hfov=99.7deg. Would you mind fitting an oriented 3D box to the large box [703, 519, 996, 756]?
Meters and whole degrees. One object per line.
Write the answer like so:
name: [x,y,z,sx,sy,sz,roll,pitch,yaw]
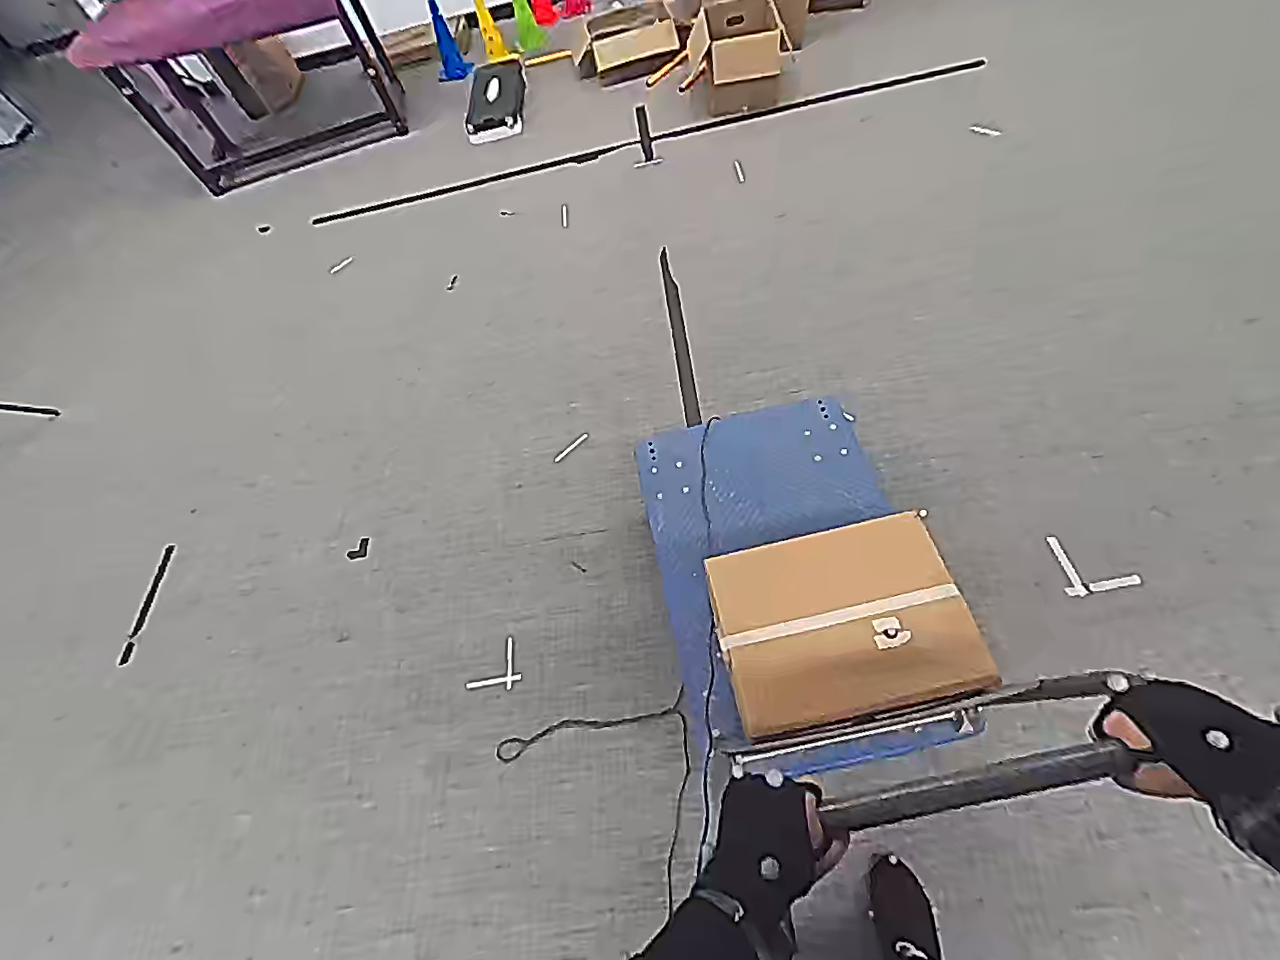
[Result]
large box: [0.358,0.319,1.051,0.408,0.320,0.320,-13,61,2]
